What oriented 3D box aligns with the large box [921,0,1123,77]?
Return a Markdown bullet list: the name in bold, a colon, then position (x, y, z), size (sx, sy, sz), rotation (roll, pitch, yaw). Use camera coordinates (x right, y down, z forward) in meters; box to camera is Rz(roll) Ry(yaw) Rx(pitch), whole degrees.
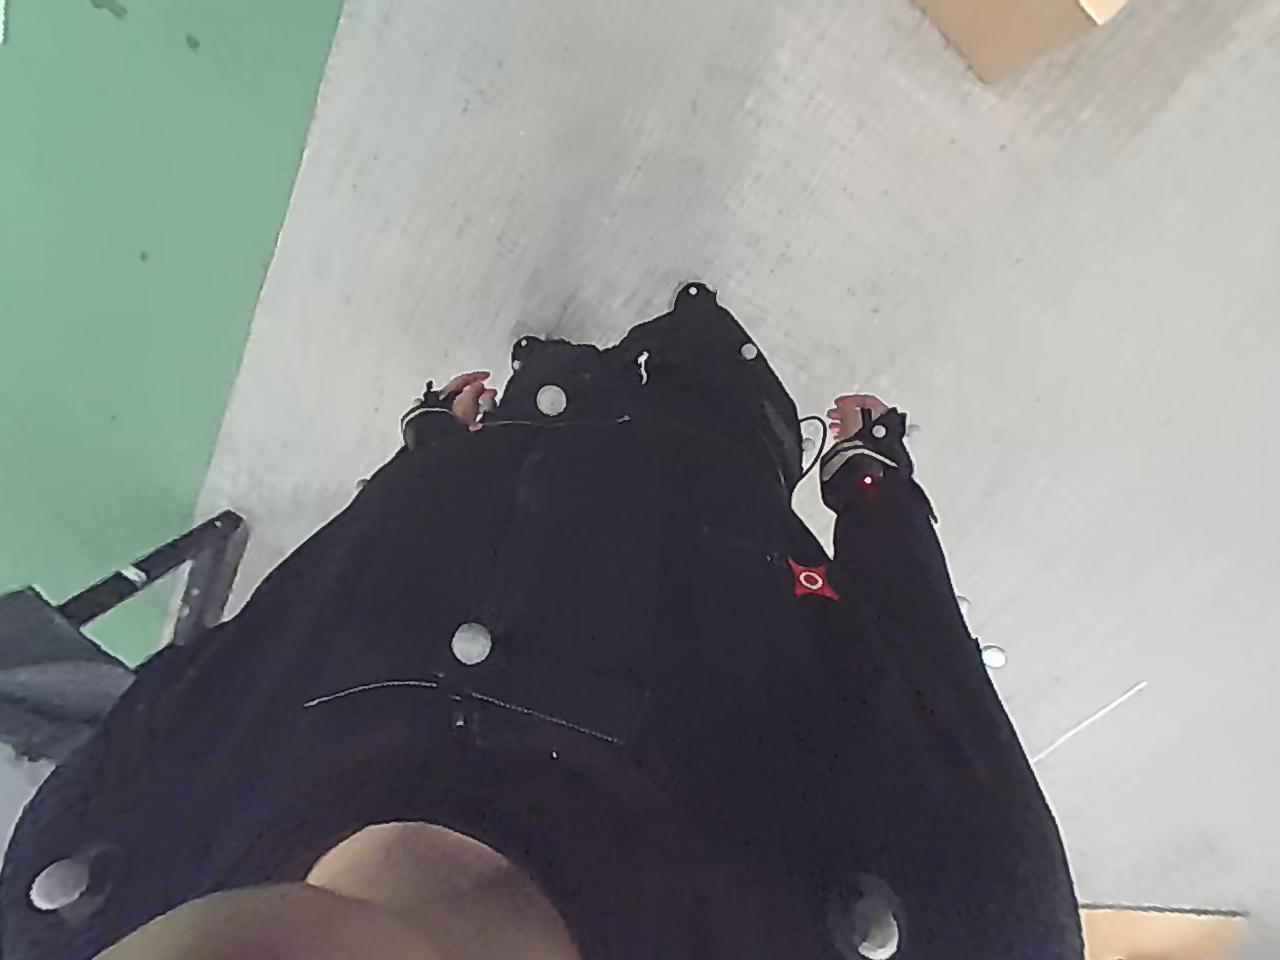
- **large box**: position (0.586, -0.913, 0.787), size (0.408, 0.320, 0.320), rotation (38, 113, -11)
